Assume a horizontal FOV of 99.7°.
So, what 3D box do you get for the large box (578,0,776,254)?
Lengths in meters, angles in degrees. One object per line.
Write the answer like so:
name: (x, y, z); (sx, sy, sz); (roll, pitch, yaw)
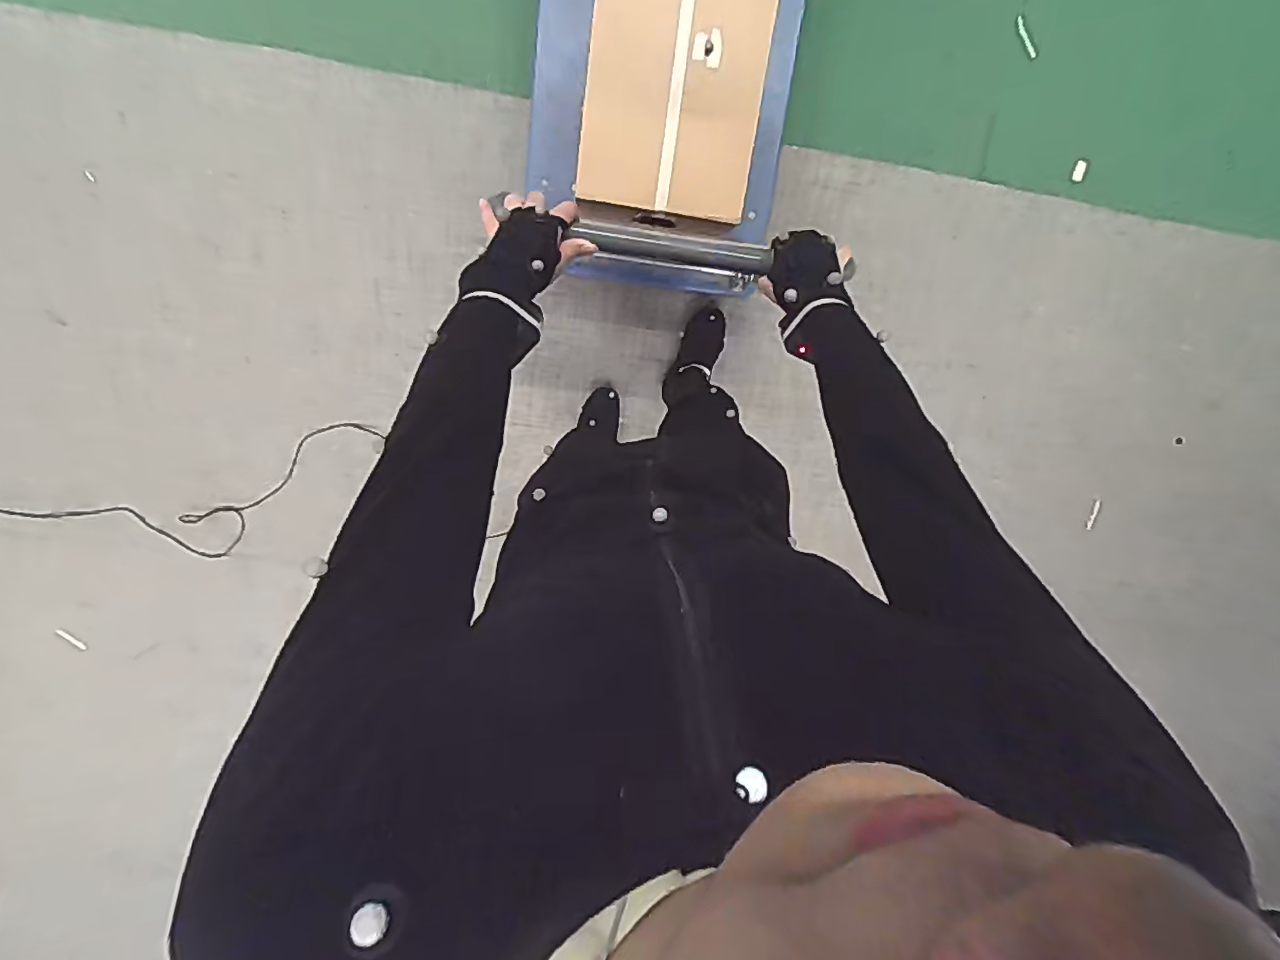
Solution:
large box: (0.055, -0.712, 1.100); (0.320, 0.320, 0.408); (7, 103, -5)
